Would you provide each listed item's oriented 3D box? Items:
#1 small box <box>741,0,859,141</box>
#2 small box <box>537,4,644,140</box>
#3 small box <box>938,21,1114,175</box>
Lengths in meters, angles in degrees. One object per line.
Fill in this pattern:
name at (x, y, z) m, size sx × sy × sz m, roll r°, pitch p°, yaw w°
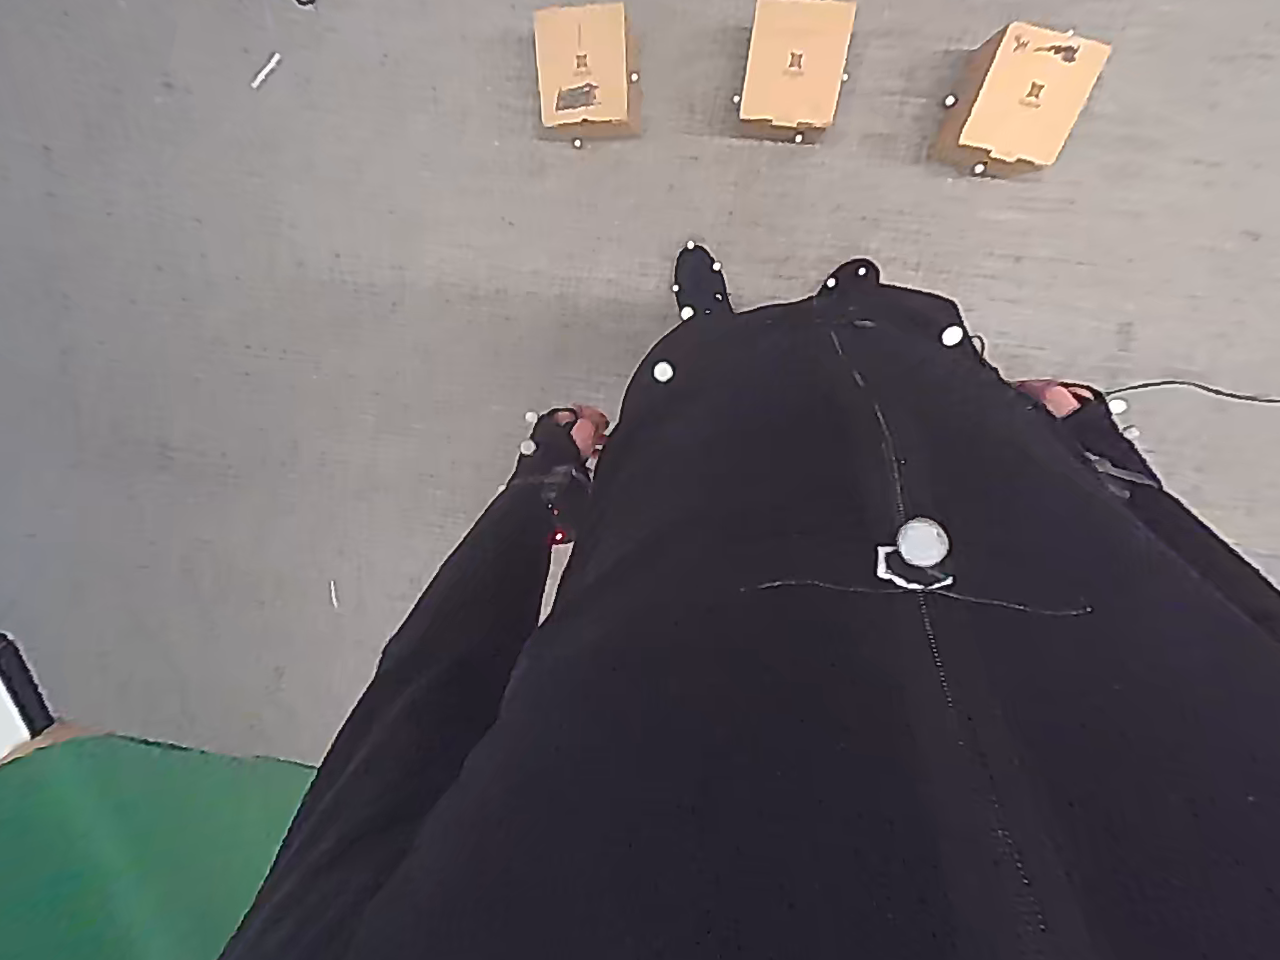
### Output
small box at (0.281, -0.740, 0.993) m, size 0.168 × 0.176 × 0.179 m, roll 8°, pitch 113°, yaw 5°
small box at (-0.086, -0.769, 1.041) m, size 0.168 × 0.176 × 0.179 m, roll 2°, pitch 113°, yaw 9°
small box at (0.661, -0.661, 0.959) m, size 0.168 × 0.176 × 0.179 m, roll 18°, pitch 116°, yaw 3°
